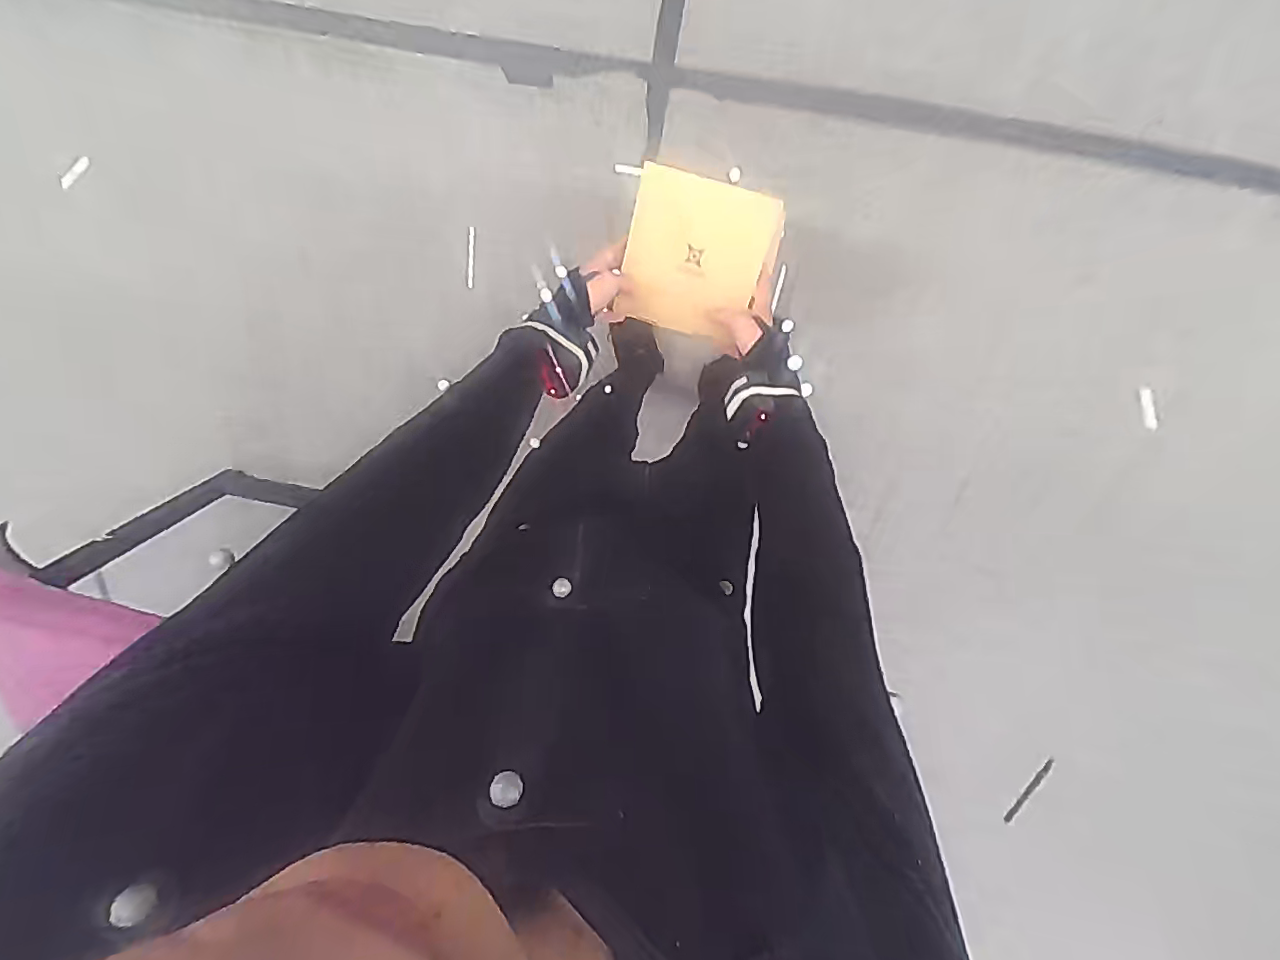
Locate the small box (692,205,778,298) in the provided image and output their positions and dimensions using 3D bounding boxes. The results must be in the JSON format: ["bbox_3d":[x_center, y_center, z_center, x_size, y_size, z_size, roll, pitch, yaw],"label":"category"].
[{"bbox_3d":[0.215,-0.542,1.273,0.168,0.176,0.179,8,118,3],"label":"small box"}]
